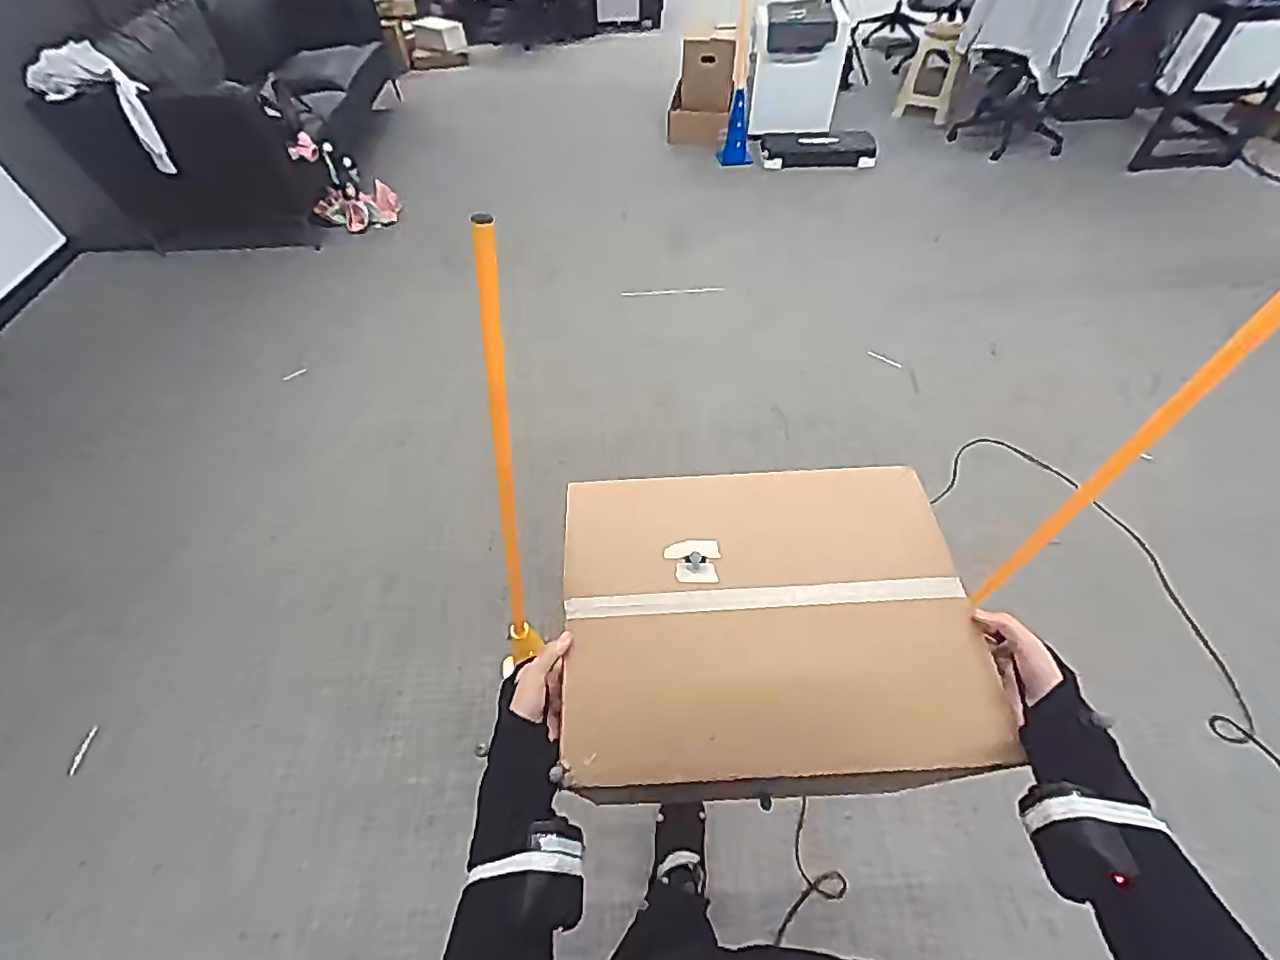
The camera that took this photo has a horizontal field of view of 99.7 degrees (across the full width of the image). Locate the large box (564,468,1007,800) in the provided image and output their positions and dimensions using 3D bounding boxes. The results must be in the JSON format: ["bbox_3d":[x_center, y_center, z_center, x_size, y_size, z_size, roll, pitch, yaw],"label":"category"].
[{"bbox_3d":[0.129,0.209,0.683,0.408,0.320,0.320,-4,55,0],"label":"large box"}]
